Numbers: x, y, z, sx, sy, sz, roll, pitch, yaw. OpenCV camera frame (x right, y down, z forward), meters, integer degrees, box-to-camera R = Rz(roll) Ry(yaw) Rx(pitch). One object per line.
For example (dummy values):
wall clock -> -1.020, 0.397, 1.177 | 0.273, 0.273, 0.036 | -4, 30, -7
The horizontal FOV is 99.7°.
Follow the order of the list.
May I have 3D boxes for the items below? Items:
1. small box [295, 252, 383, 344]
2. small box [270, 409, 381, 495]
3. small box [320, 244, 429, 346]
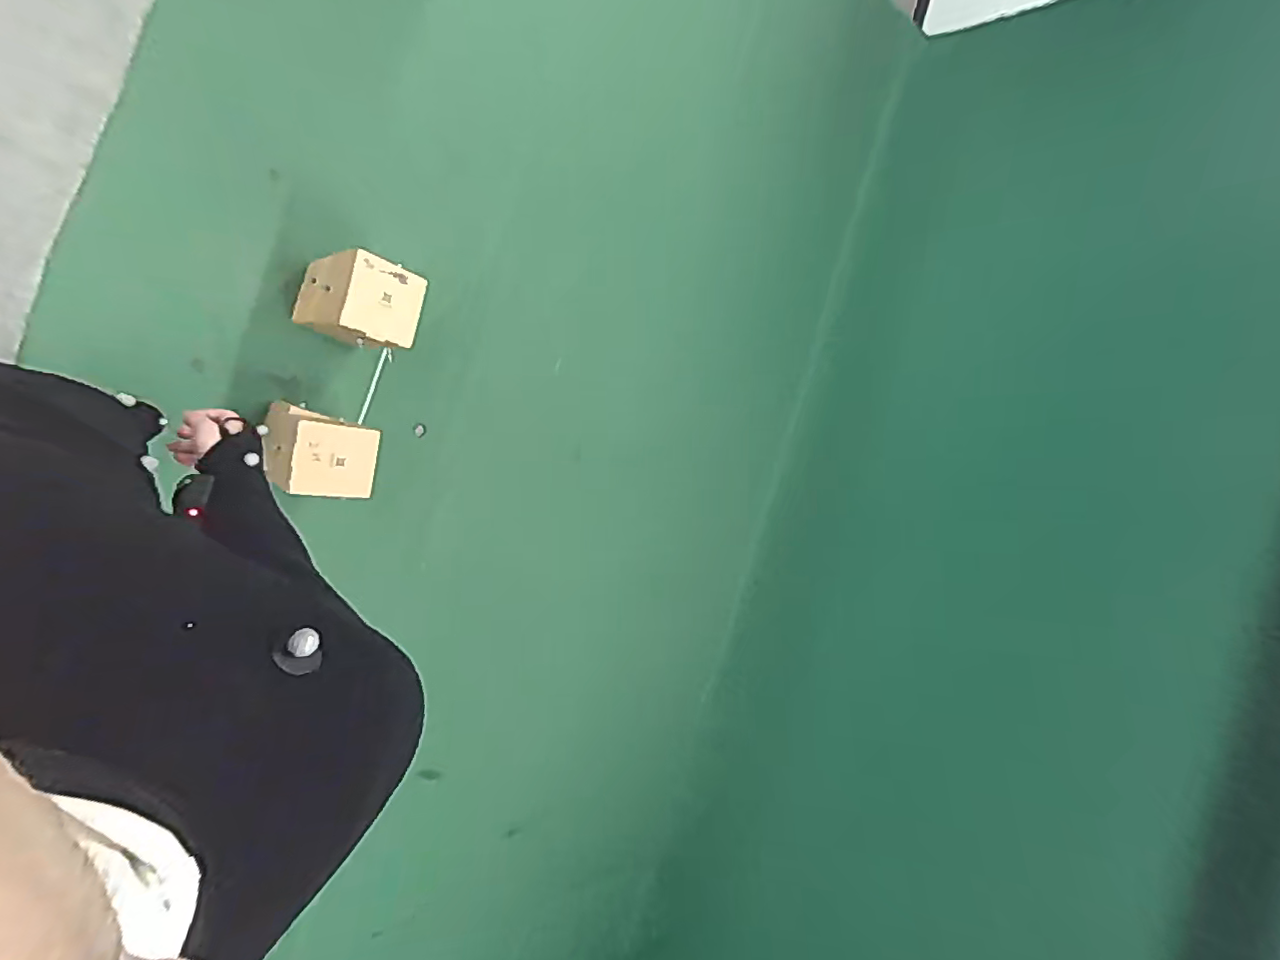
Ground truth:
small box -> -0.757, -0.463, 1.398 | 0.179, 0.176, 0.168 | 19, 87, -49
small box -> -0.747, -0.068, 1.283 | 0.179, 0.176, 0.168 | 8, 96, -47
small box -> -0.638, -0.434, 1.290 | 0.168, 0.176, 0.179 | 16, 90, -49
